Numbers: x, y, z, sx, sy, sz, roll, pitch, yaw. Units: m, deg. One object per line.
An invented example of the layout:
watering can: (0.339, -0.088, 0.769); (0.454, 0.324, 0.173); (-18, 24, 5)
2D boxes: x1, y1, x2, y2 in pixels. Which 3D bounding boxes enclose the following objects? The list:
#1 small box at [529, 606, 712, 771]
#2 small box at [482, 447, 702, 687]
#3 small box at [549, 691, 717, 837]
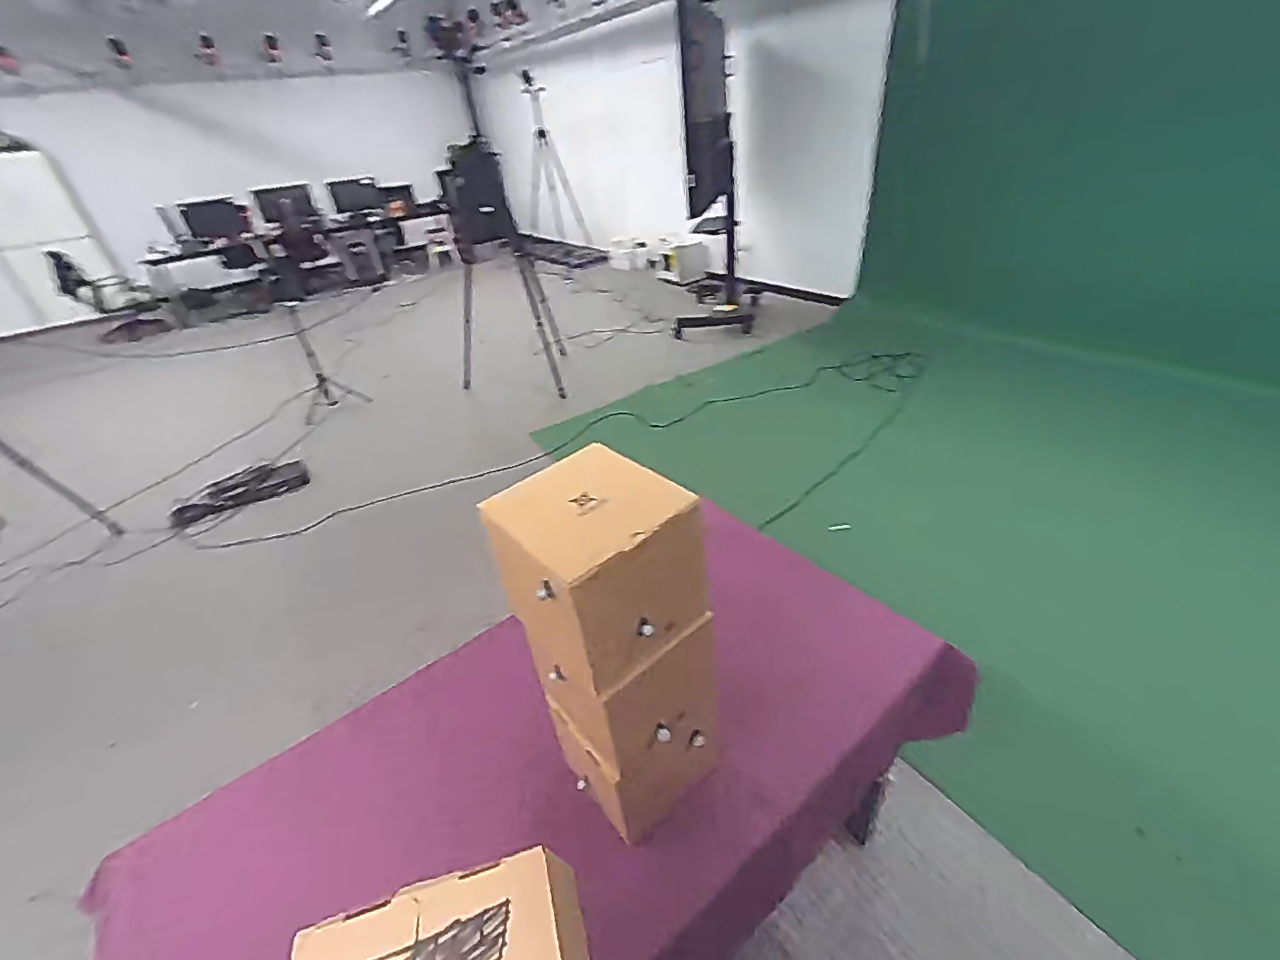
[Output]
small box: (-0.025, 0.226, 0.695); (0.168, 0.176, 0.179); (-30, 41, -29)
small box: (-0.048, 0.091, 0.607); (0.168, 0.176, 0.179); (-31, 42, -30)
small box: (-0.005, 0.361, 0.785); (0.179, 0.176, 0.168); (-29, 39, -28)
